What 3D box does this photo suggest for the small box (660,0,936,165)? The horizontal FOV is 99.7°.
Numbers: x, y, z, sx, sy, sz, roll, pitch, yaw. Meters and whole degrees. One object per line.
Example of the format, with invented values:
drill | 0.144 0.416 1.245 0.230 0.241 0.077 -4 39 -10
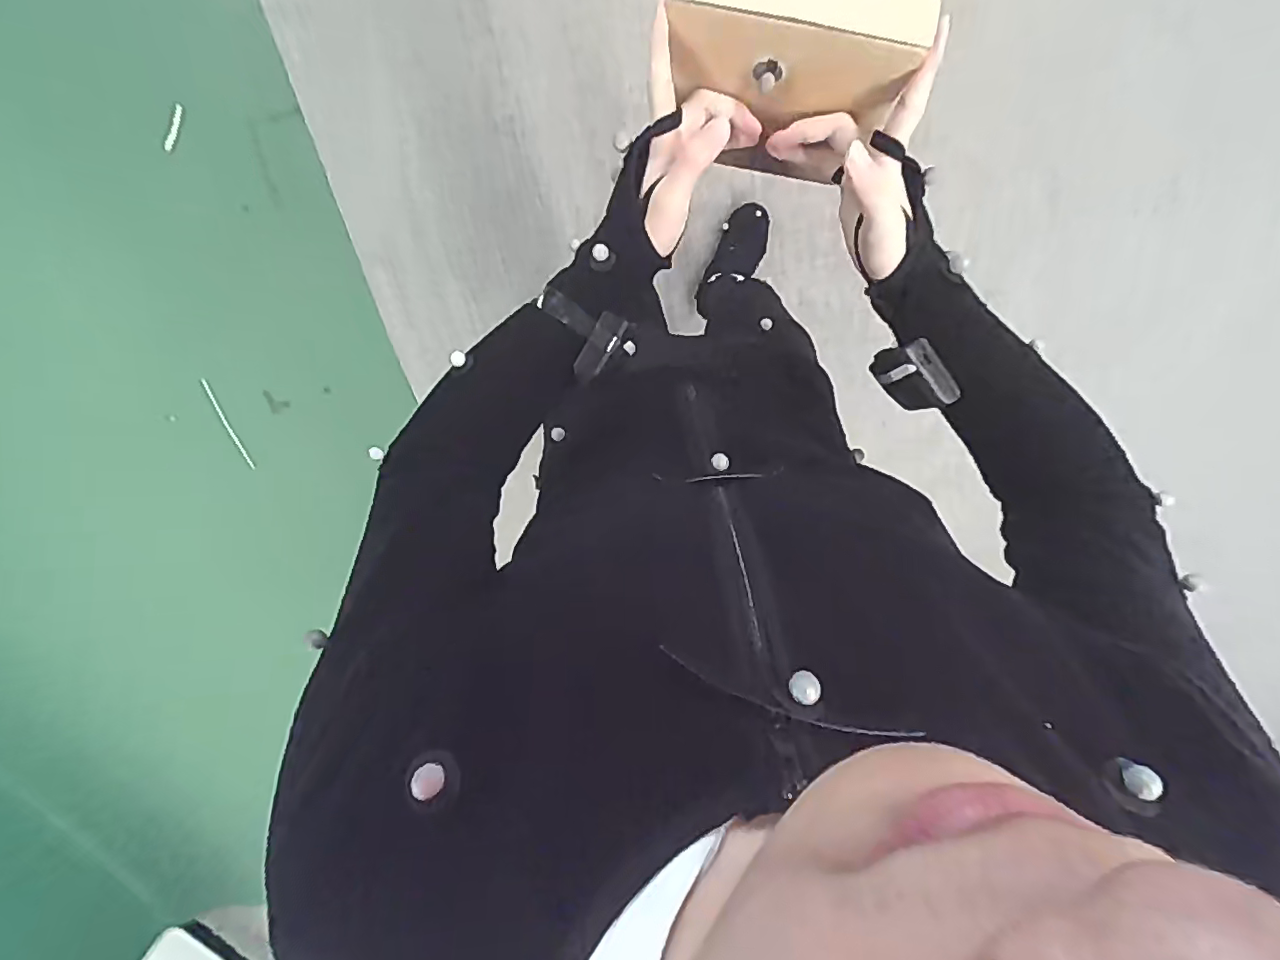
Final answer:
small box | 0.114 -0.382 0.425 0.179 0.176 0.168 10 90 -1
